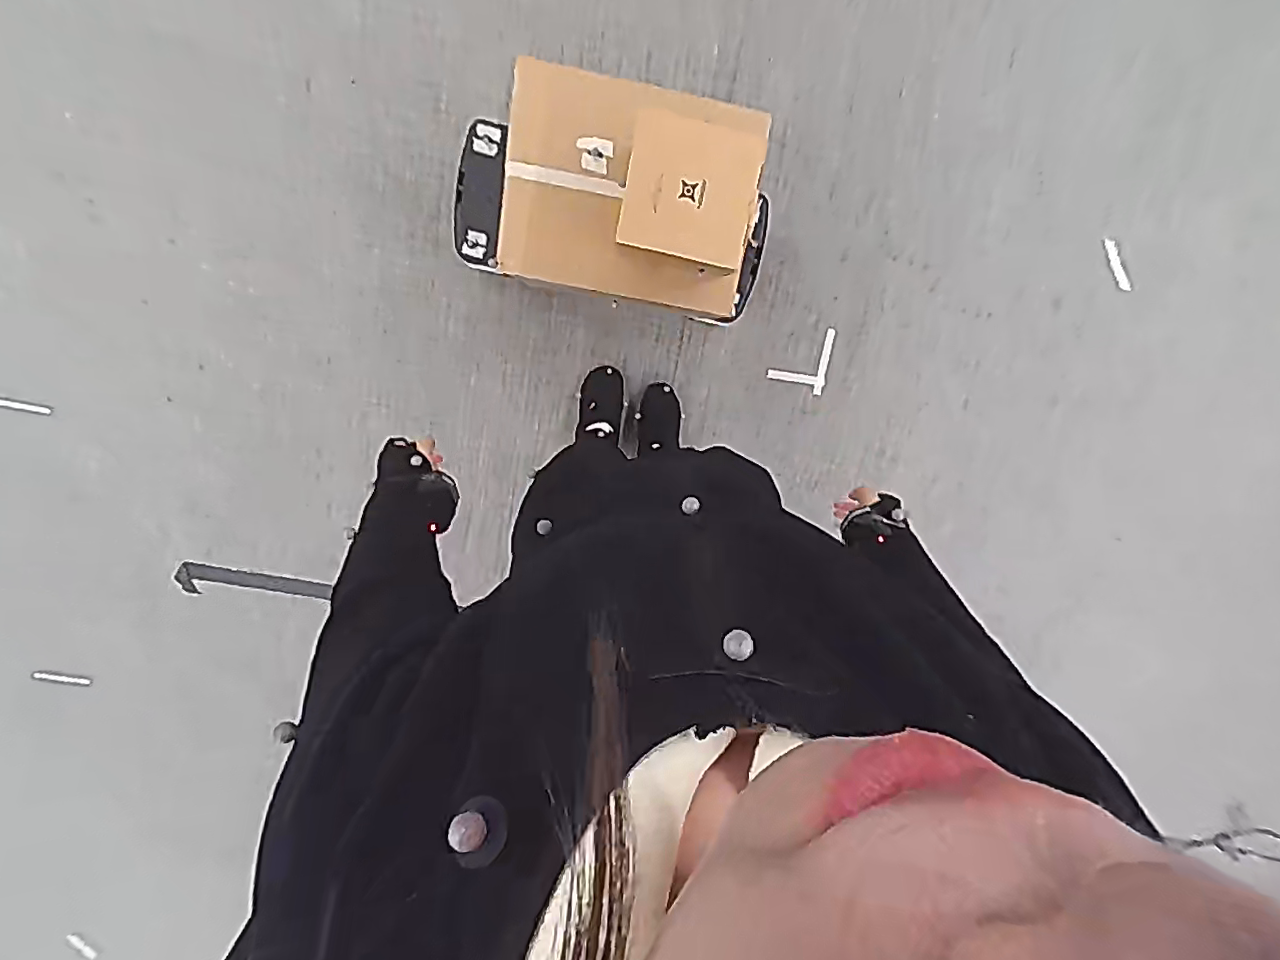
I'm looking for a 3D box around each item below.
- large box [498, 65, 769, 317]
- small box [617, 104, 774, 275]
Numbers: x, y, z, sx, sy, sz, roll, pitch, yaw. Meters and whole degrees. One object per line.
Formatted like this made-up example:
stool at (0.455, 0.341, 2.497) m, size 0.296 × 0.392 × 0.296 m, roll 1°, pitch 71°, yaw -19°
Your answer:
large box at (-0.018, -0.493, 1.009) m, size 0.408 × 0.320 × 0.320 m, roll 9°, pitch 104°, yaw -4°
small box at (0.068, -0.402, 0.783) m, size 0.179 × 0.176 × 0.168 m, roll 12°, pitch 105°, yaw -5°
